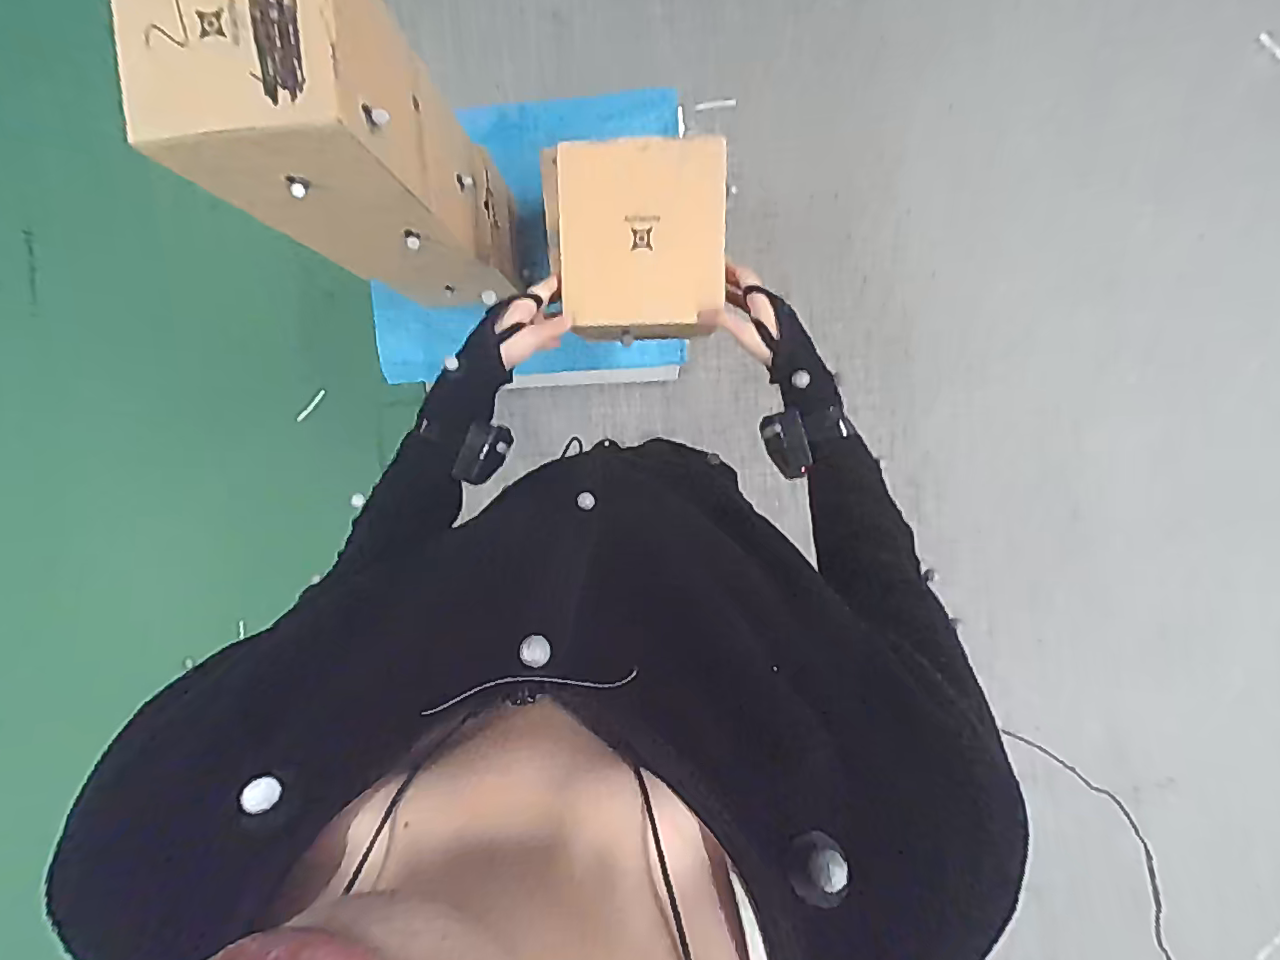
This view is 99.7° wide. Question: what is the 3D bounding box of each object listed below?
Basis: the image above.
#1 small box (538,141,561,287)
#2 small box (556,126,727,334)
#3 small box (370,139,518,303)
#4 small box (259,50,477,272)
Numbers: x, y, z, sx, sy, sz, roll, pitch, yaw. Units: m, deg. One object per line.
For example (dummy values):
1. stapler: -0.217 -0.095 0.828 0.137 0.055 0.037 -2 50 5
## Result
1. small box: -0.045 -0.374 0.799 0.168 0.176 0.179 -4 93 3
2. small box: 0.006 -0.258 0.602 0.168 0.176 0.179 -1 98 2
3. small box: -0.288 -0.375 0.811 0.179 0.176 0.168 -5 93 3
4. small box: -0.305 -0.363 0.647 0.179 0.176 0.168 -4 92 3
